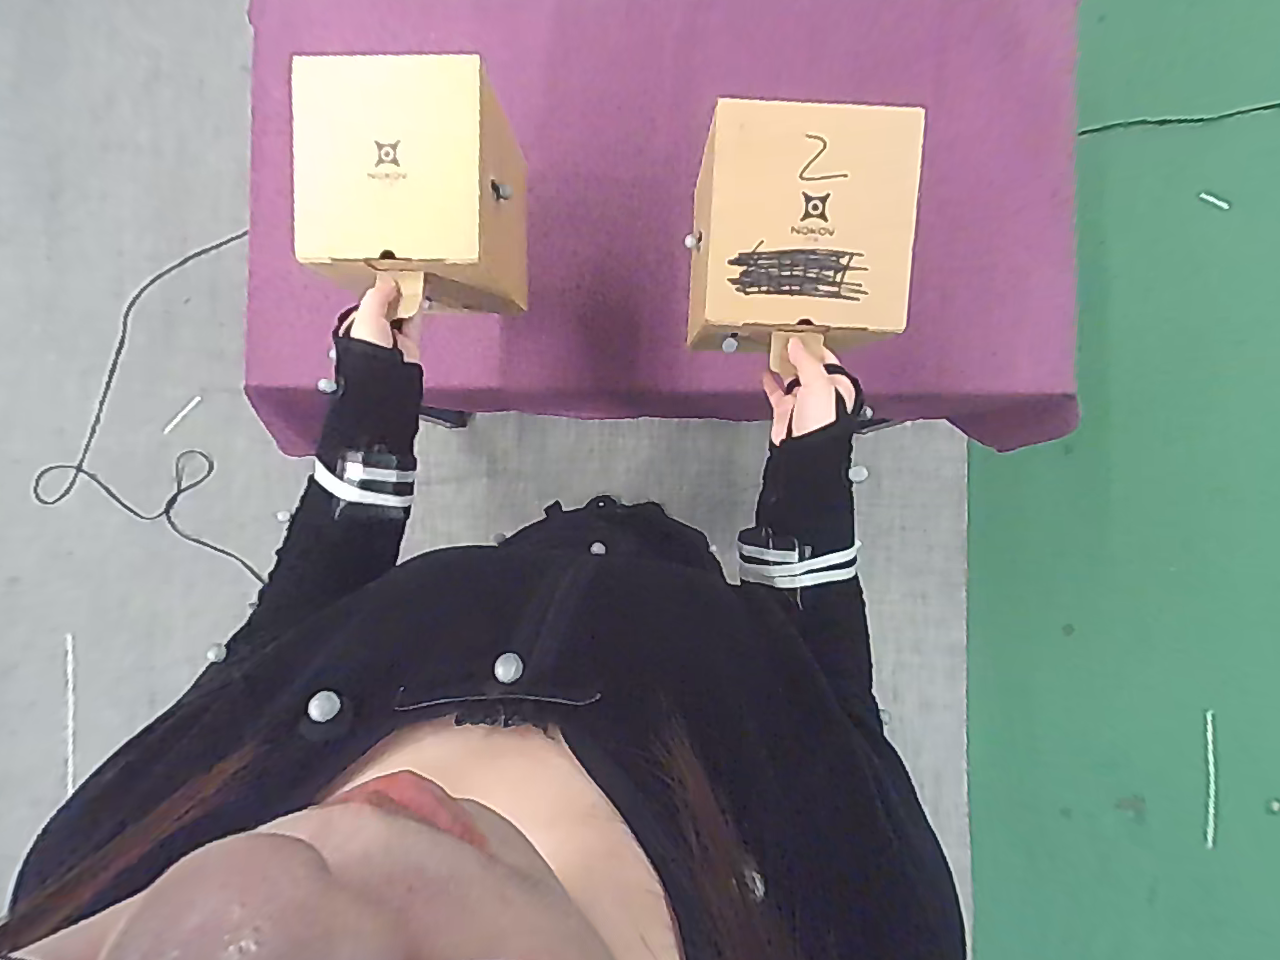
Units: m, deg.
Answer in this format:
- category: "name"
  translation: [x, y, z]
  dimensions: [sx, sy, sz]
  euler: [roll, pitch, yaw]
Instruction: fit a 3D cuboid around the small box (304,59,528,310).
- category: "small box"
  translation: [-0.218, -0.290, 0.564]
  dimensions: [0.168, 0.176, 0.179]
  euler: [1, 93, 2]
